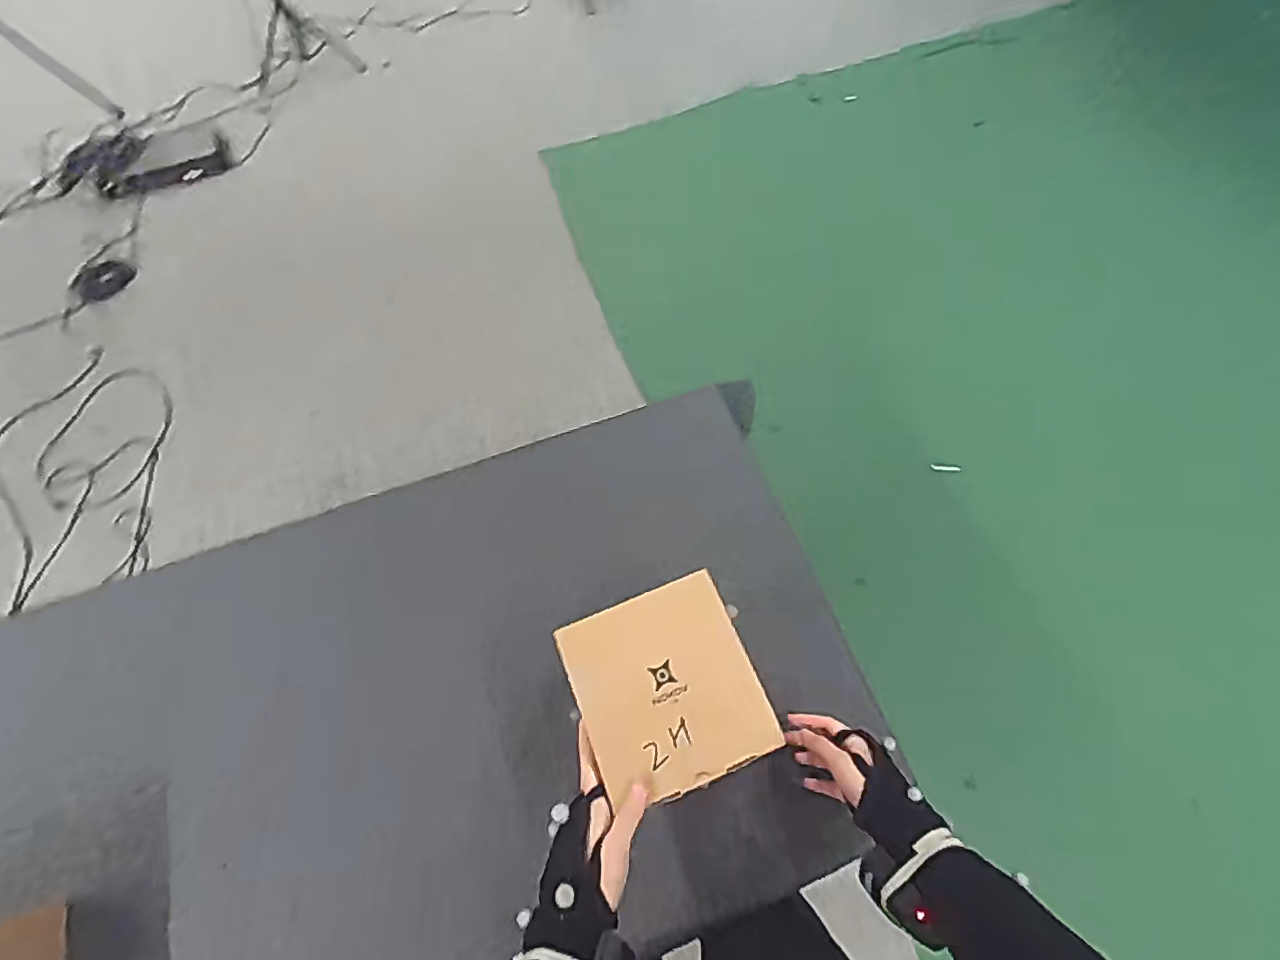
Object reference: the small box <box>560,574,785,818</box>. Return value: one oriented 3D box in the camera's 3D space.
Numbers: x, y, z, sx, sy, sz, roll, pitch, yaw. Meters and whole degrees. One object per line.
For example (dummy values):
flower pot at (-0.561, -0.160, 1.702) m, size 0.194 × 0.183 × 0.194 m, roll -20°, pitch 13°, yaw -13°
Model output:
small box at (0.030, 0.228, 0.584) m, size 0.168 × 0.176 × 0.179 m, roll -22°, pitch 66°, yaw -5°
